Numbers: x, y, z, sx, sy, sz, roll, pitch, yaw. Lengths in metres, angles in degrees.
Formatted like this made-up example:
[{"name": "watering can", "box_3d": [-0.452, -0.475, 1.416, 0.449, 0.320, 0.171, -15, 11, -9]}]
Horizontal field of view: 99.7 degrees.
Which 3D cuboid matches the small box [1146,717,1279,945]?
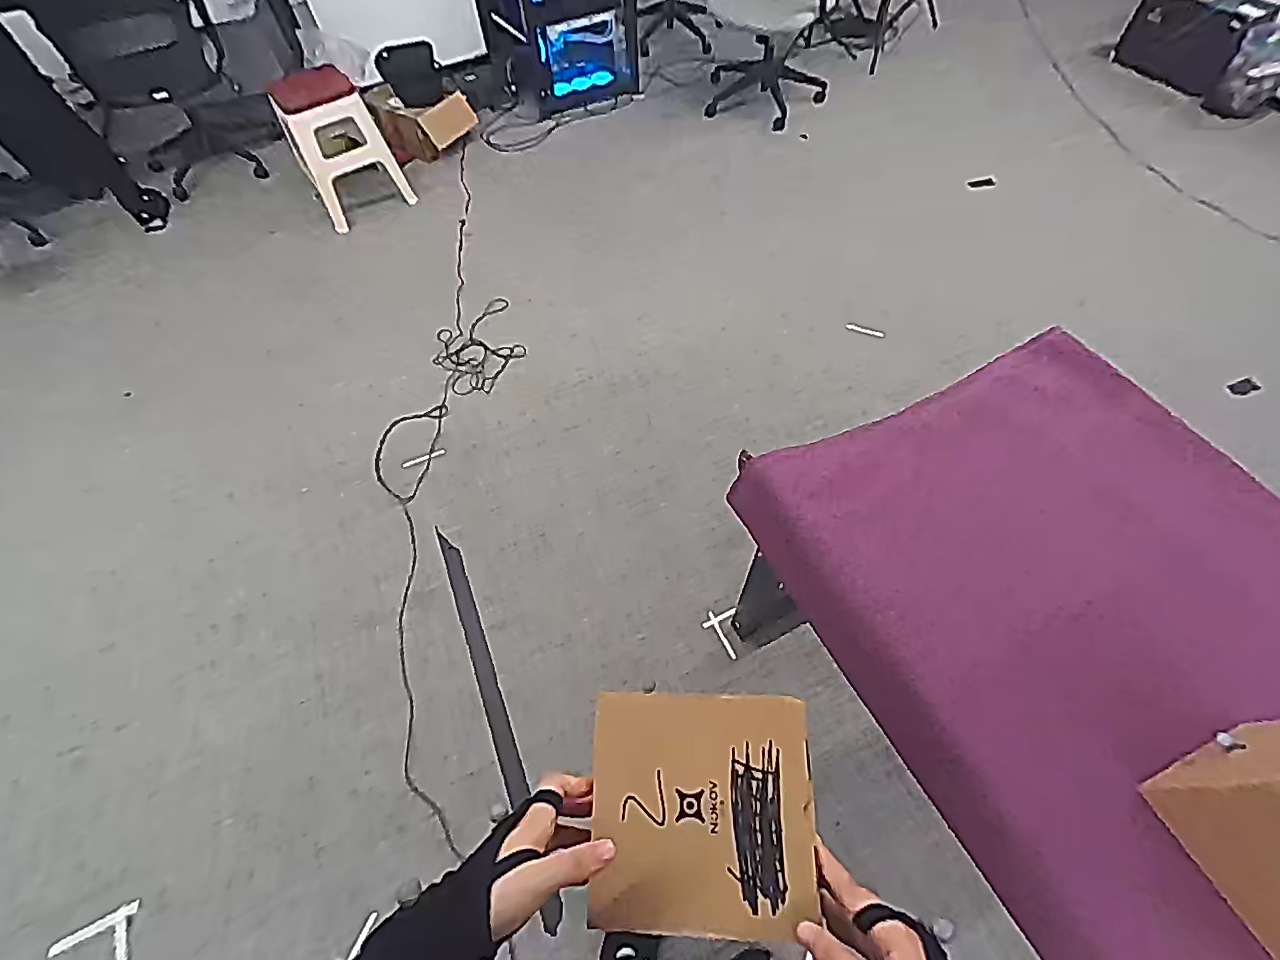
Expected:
[{"name": "small box", "box_3d": [0.655, 0.329, 0.500, 0.168, 0.176, 0.179, -21, 60, -11]}]
